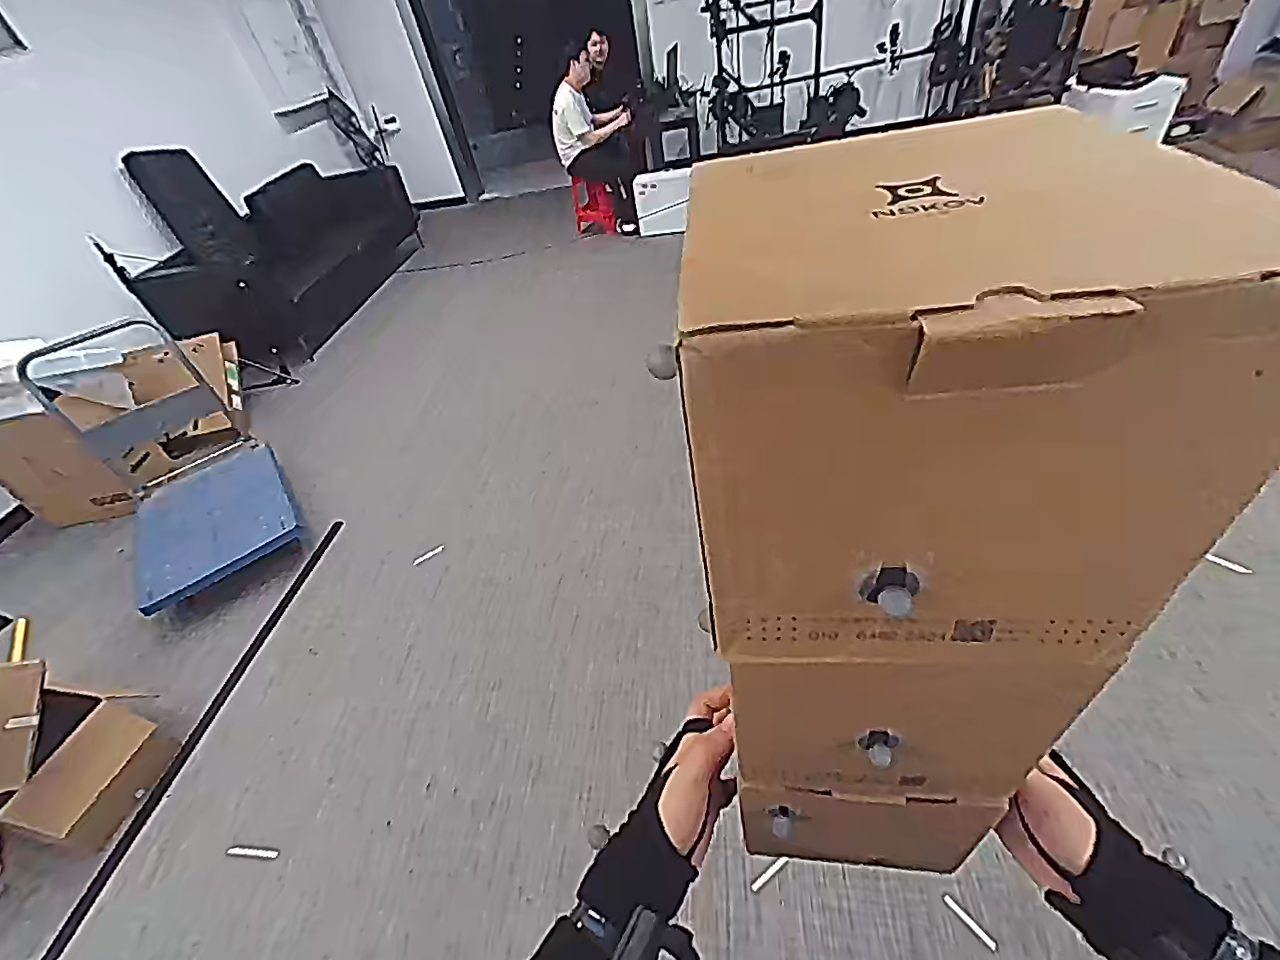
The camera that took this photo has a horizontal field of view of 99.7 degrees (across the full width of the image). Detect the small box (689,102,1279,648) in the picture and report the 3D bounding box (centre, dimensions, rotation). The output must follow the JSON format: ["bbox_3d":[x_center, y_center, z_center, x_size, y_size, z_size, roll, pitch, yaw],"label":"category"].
[{"bbox_3d":[0.113,-0.047,0.245,0.168,0.176,0.179,-3,42,10],"label":"small box"}]

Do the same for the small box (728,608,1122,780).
[{"bbox_3d":[0.144,0.073,0.351,0.168,0.176,0.179,-2,41,10],"label":"small box"}]
